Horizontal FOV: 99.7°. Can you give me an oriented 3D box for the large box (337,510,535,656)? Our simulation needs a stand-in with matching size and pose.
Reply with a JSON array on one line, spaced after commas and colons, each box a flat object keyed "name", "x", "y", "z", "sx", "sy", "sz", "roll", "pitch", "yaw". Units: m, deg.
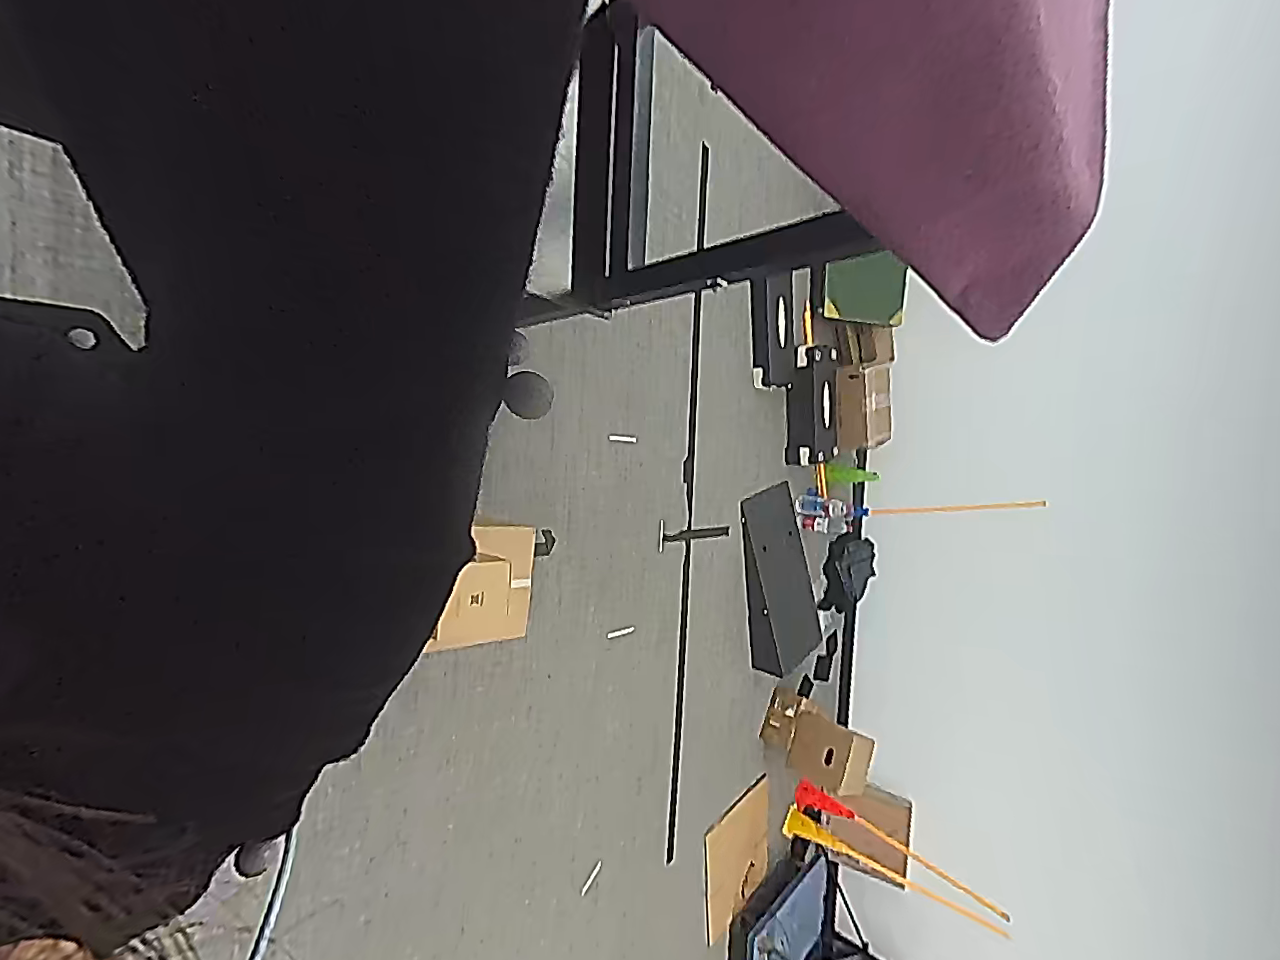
[{"name": "large box", "x": -0.549, "y": 0.247, "z": 1.466, "sx": 0.408, "sy": 0.320, "sz": 0.320, "roll": 5, "pitch": 91, "yaw": -48}]

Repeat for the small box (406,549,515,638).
[{"name": "small box", "x": -0.415, "y": 0.253, "z": 1.251, "sx": 0.179, "sy": 0.176, "sz": 0.168, "roll": 6, "pitch": 88, "yaw": -47}]
